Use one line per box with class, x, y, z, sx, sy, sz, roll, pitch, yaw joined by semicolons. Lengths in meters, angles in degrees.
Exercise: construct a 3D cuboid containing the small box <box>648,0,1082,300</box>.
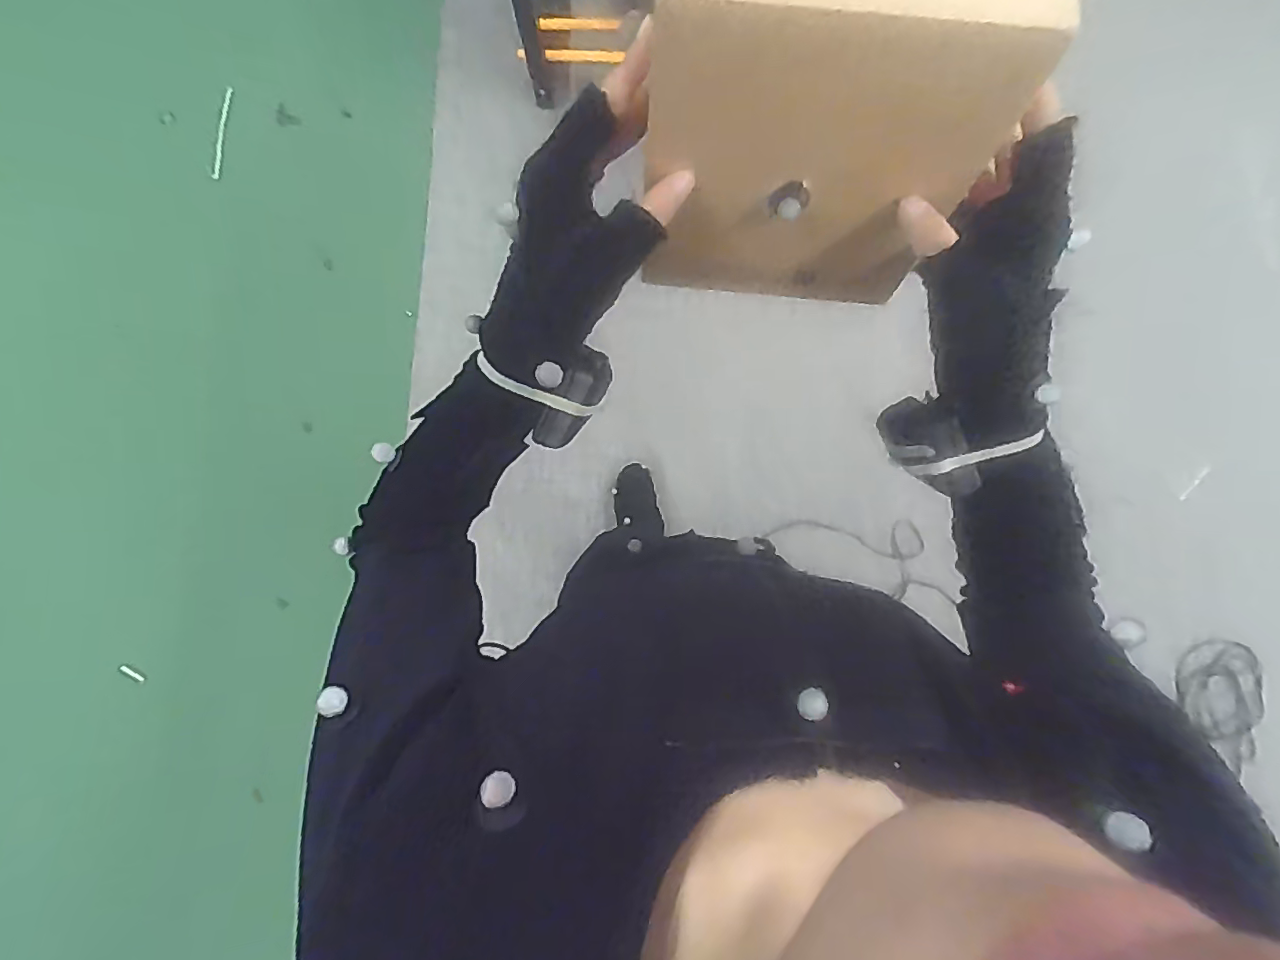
small box;0.095;-0.229;0.311;0.168;0.176;0.179;6;70;-1
